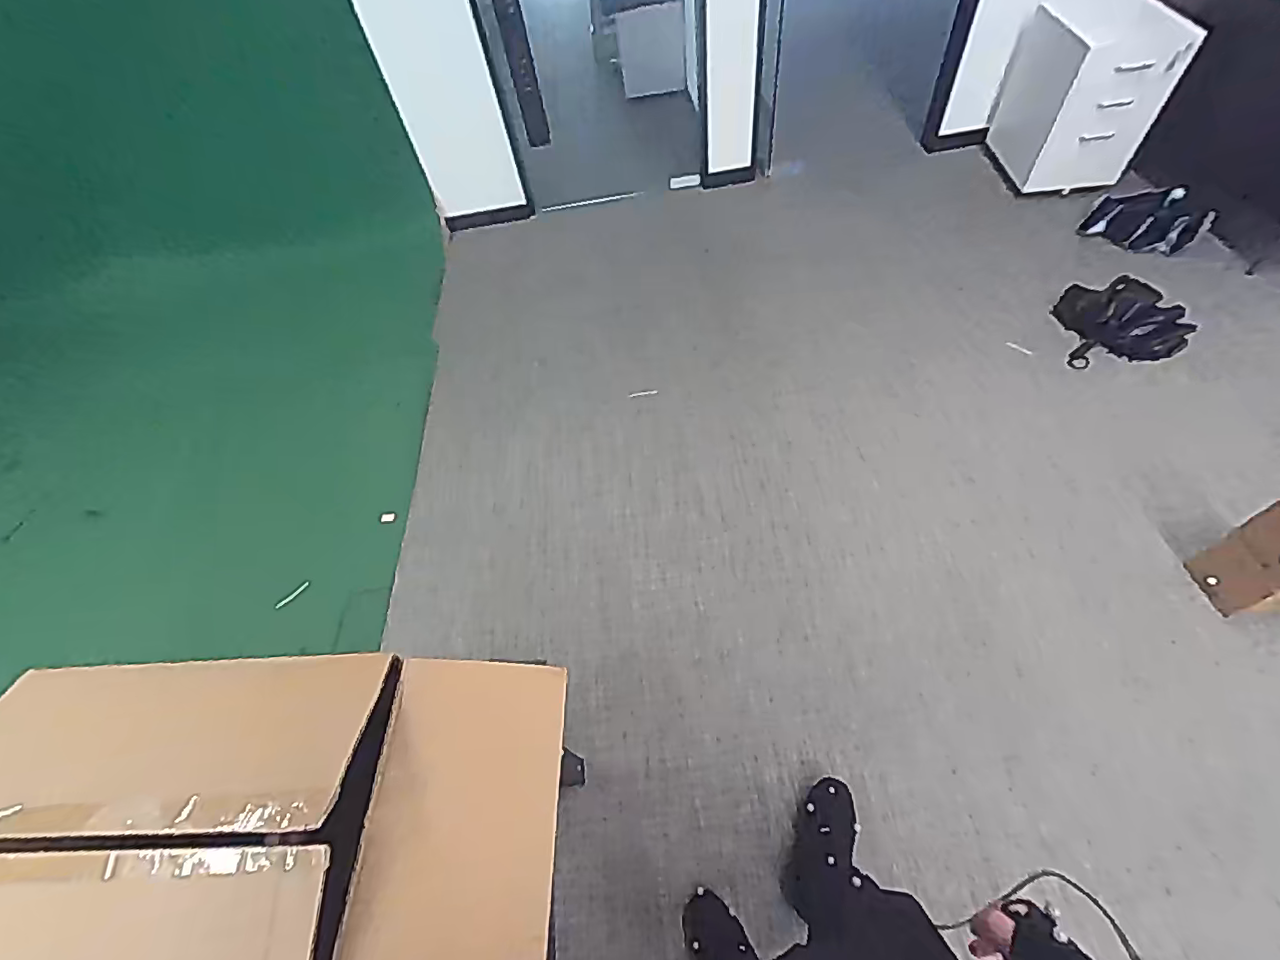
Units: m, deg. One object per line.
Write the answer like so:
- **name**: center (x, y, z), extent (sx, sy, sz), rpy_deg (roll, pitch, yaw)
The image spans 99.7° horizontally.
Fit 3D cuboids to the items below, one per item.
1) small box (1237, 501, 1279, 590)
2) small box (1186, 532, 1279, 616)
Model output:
- **small box**: center (1.566, 0.145, 1.252), extent (0.179, 0.176, 0.168), rpy_deg (-7, 57, 2)
- **small box**: center (1.589, 0.235, 1.385), extent (0.179, 0.176, 0.168), rpy_deg (-9, 56, 3)
